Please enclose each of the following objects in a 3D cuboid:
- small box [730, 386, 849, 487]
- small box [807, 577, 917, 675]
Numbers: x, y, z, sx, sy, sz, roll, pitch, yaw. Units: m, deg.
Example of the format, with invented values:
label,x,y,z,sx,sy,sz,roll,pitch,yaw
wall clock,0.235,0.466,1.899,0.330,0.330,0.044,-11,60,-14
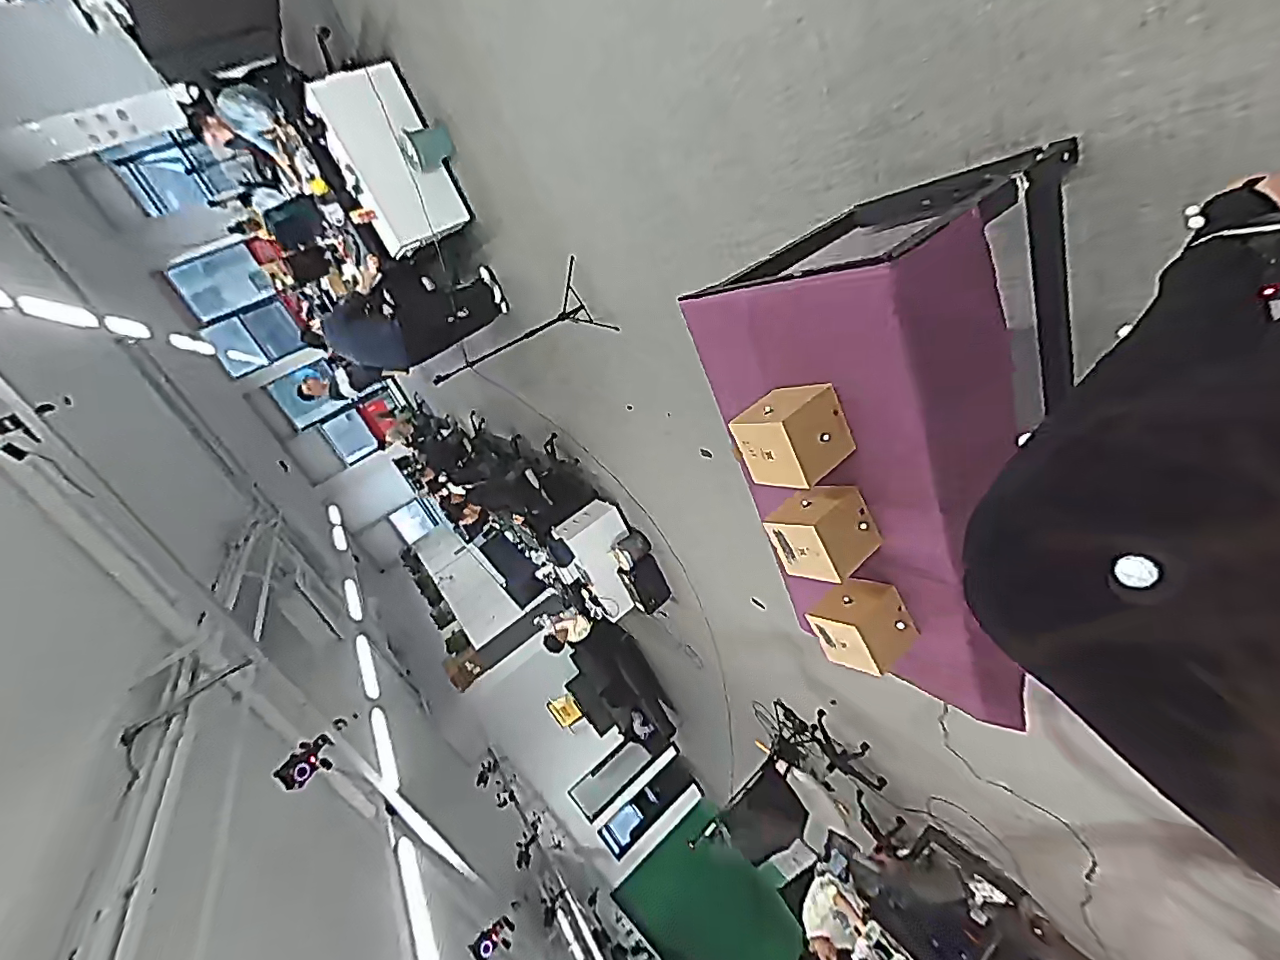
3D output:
label,x,y,z,sx,sy,sz,roll,pitch,yaw
small box,0.343,-0.102,1.219,0.179,0.176,0.168,11,132,61
small box,0.586,0.374,1.426,0.168,0.176,0.179,59,157,-12
